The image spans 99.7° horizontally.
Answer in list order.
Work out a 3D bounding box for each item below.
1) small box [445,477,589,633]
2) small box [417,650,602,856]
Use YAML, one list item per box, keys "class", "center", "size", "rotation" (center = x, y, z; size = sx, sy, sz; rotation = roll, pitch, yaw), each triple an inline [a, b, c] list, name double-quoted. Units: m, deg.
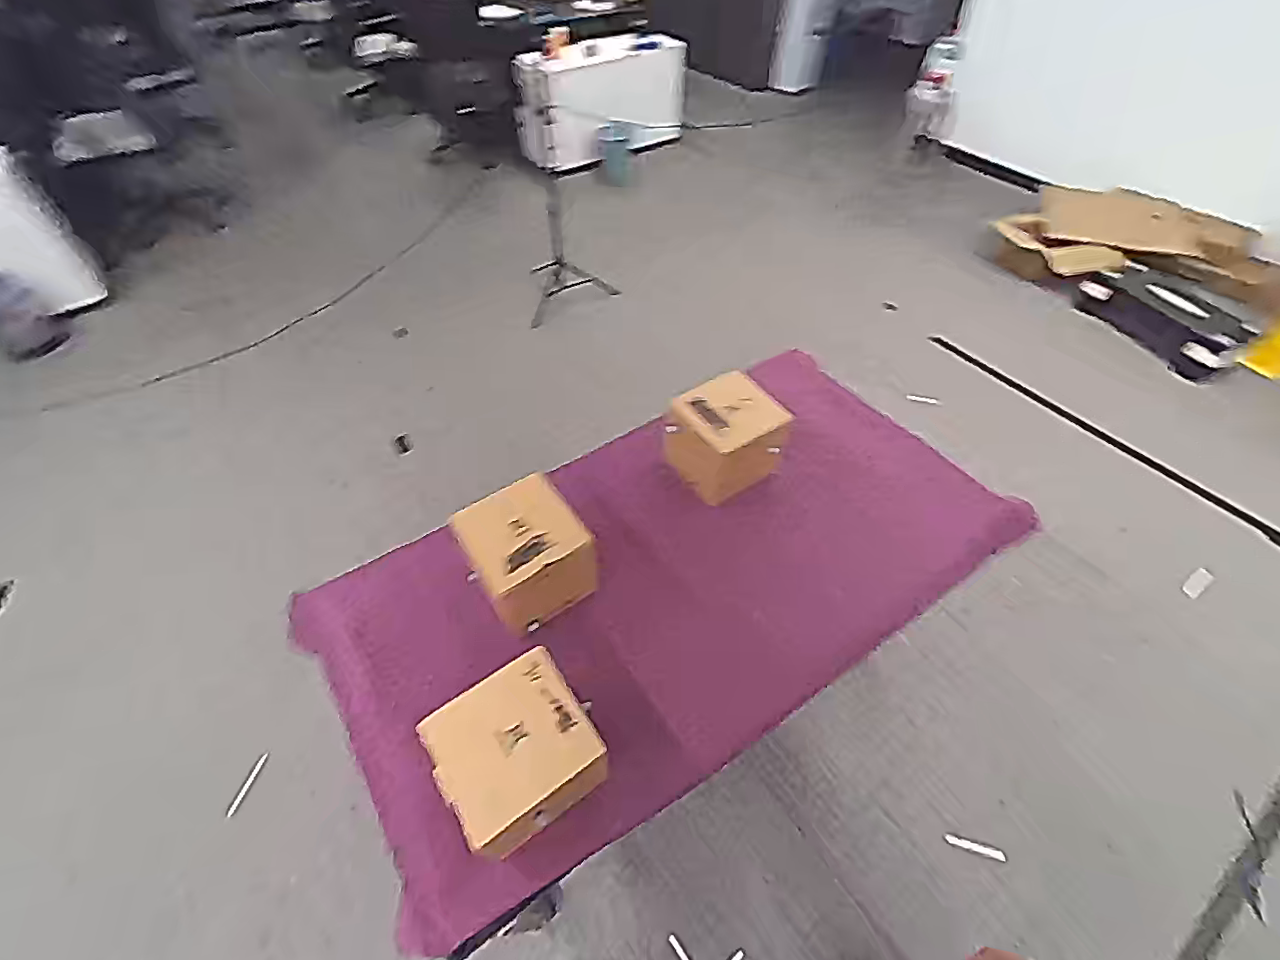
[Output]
- class: "small box"
  center: [-0.200, 0.135, 0.920]
  size: [0.168, 0.176, 0.179]
  rotation: [-30, 57, -23]
- class: "small box"
  center: [-0.165, 0.371, 0.729]
  size: [0.179, 0.176, 0.168]
  rotation: [-30, 58, -22]
